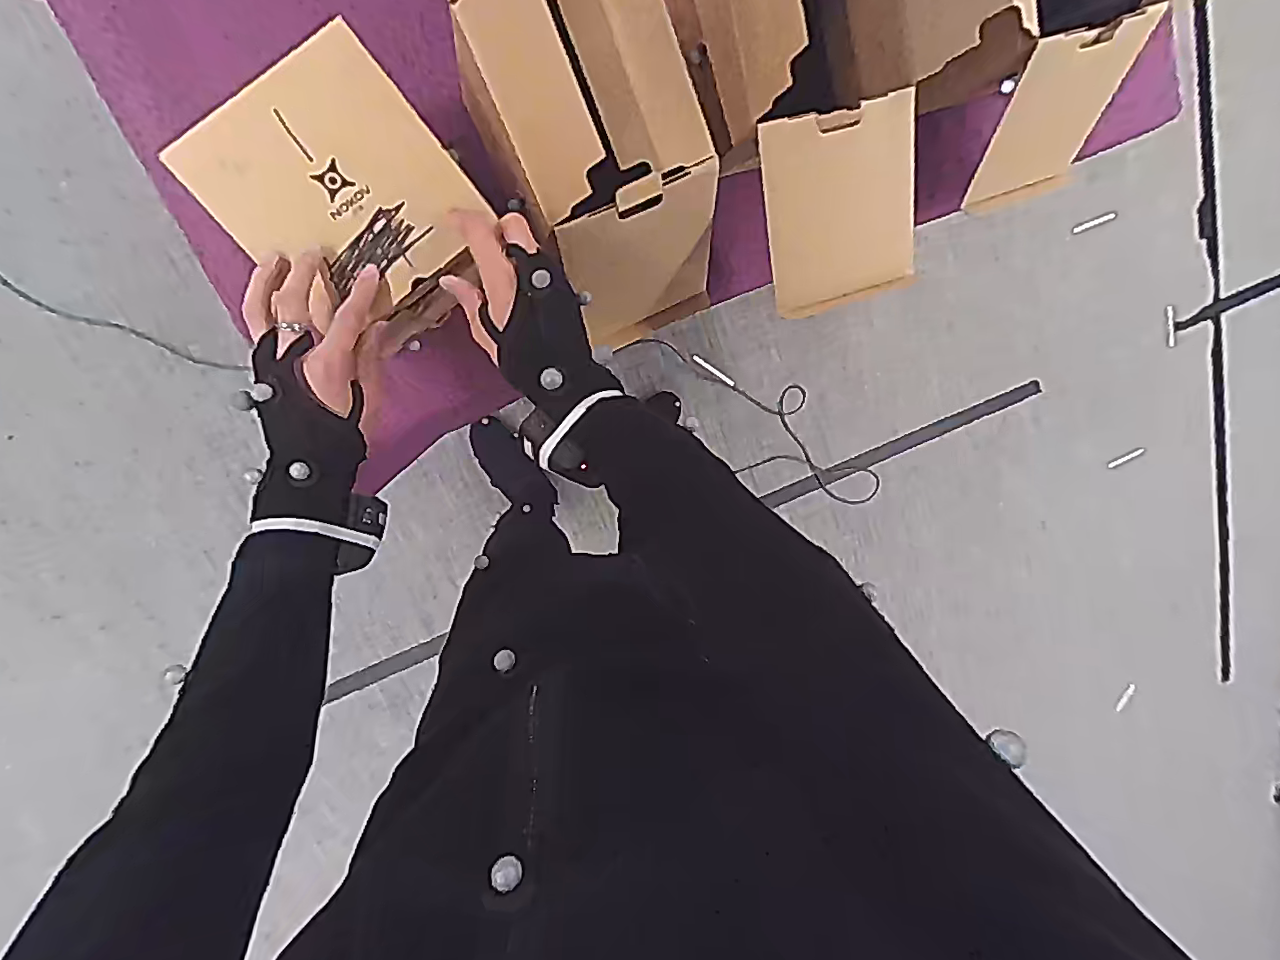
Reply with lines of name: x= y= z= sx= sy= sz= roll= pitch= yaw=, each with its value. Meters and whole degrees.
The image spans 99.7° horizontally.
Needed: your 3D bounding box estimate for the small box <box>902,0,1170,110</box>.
small box: x=0.405 y=-0.540 z=0.573 sx=0.168 sy=0.176 sz=0.179 roll=-21 pitch=107 yaw=-7
